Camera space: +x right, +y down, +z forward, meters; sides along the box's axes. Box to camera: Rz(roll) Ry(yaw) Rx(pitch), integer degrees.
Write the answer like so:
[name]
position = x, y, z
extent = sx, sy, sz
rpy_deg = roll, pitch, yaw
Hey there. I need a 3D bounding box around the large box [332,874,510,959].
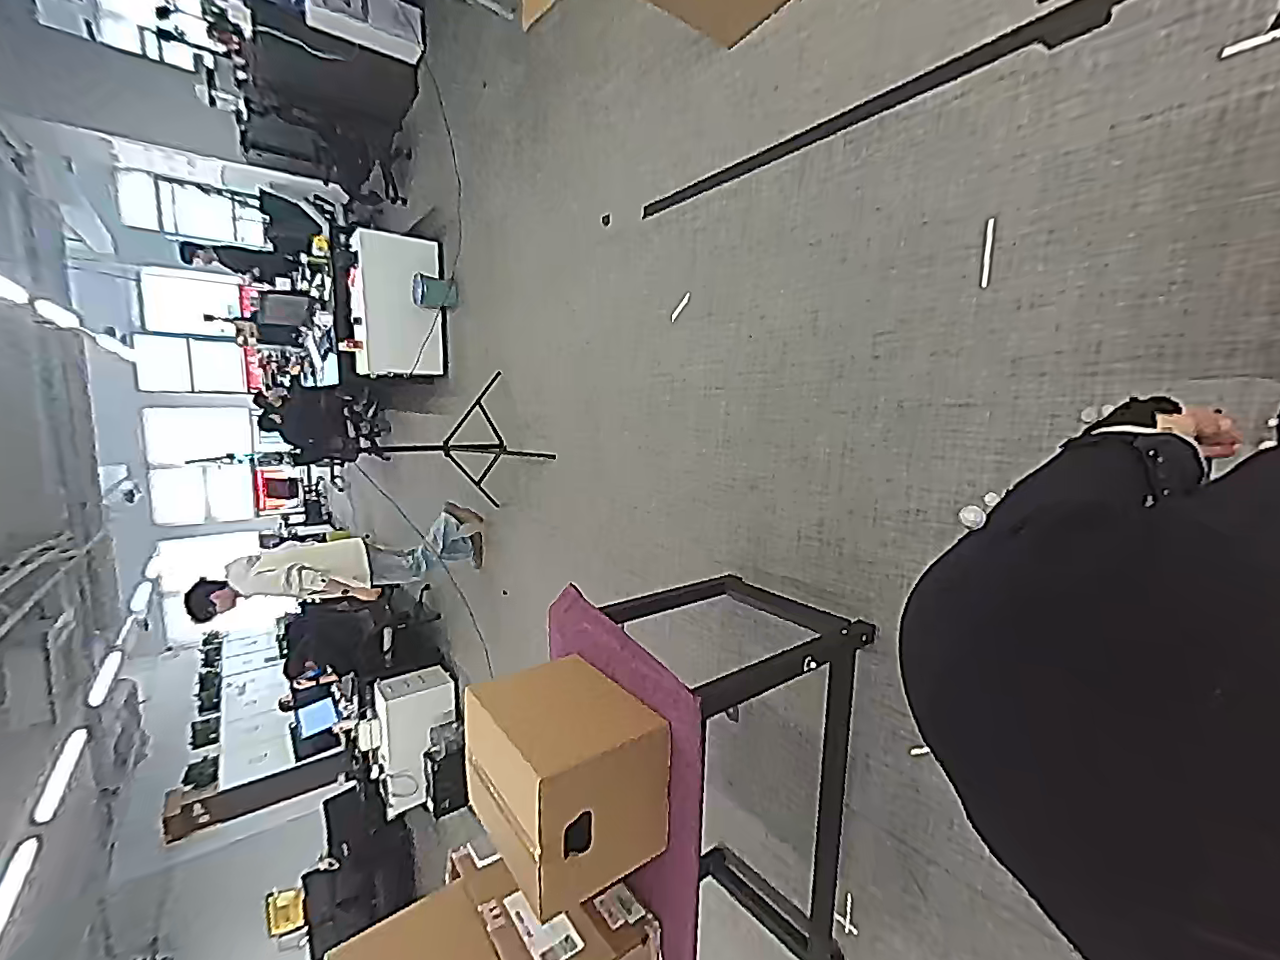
[large box]
position = -0.442, 1.185, 1.160
extent = 0.408, 0.320, 0.320
rpy_deg = 14, 109, 52
